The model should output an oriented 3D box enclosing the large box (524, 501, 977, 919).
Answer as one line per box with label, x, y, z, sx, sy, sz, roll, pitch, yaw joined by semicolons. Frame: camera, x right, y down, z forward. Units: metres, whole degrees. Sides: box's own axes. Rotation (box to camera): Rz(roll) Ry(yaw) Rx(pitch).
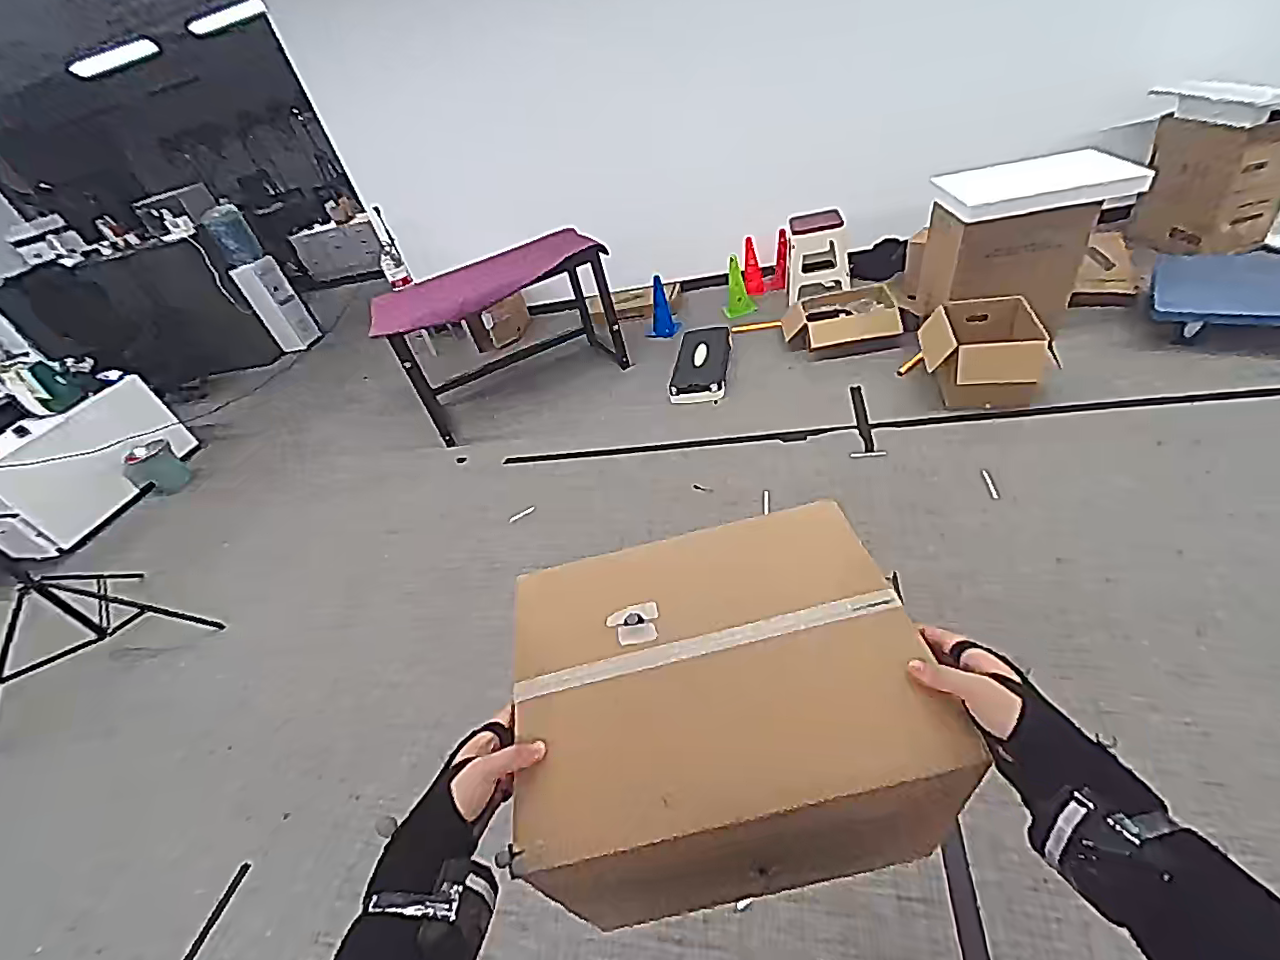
large box;0.103;0.282;0.664;0.408;0.320;0.320;-15;41;2
